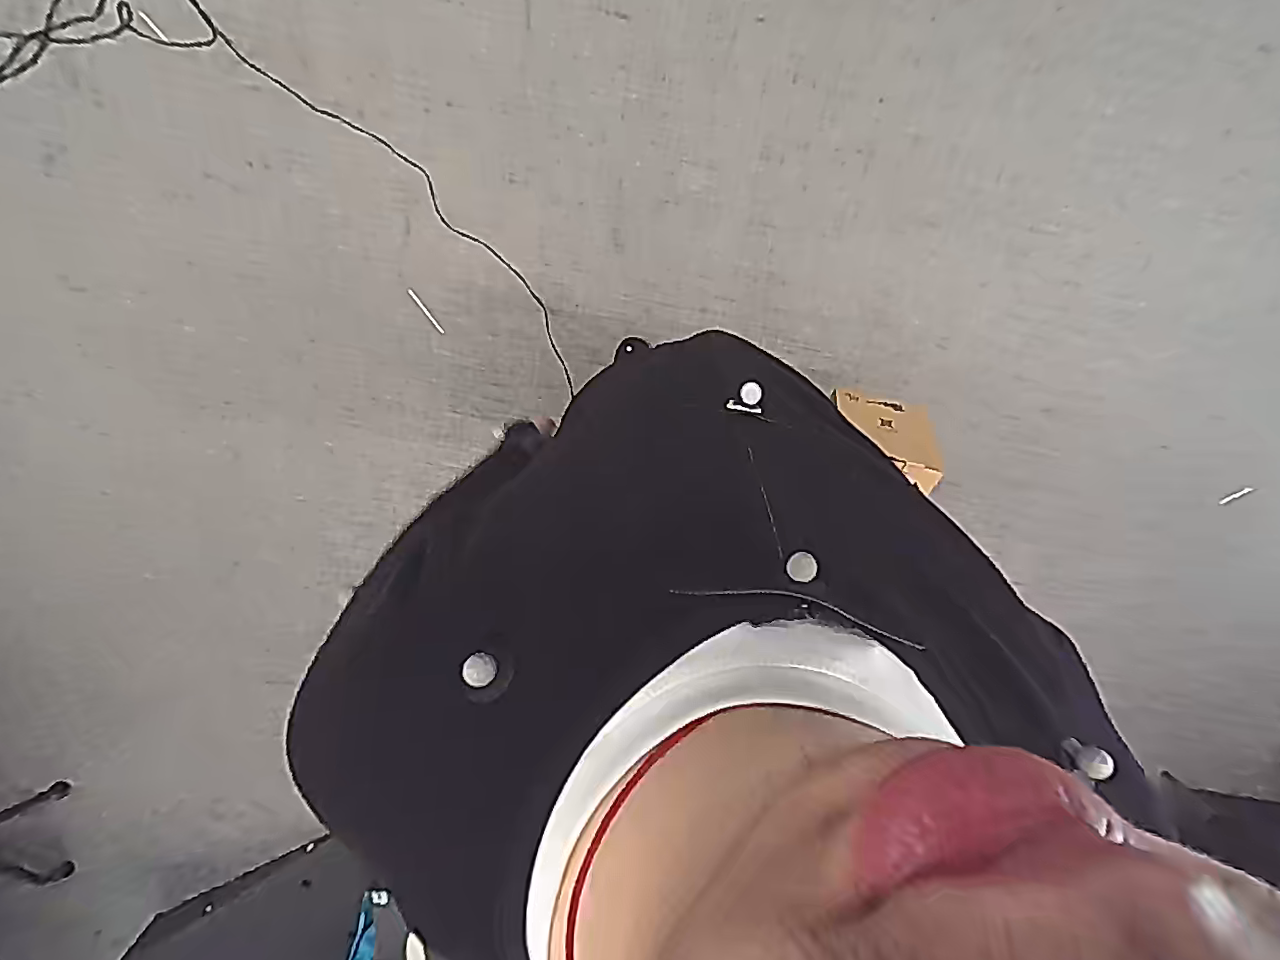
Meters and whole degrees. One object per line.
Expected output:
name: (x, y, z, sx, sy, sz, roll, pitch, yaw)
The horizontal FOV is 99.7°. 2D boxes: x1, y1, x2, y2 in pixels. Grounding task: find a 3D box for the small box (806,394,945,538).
small box: (0.398, -0.022, 0.951, 0.168, 0.179, 0.176, 12, 134, 3)
